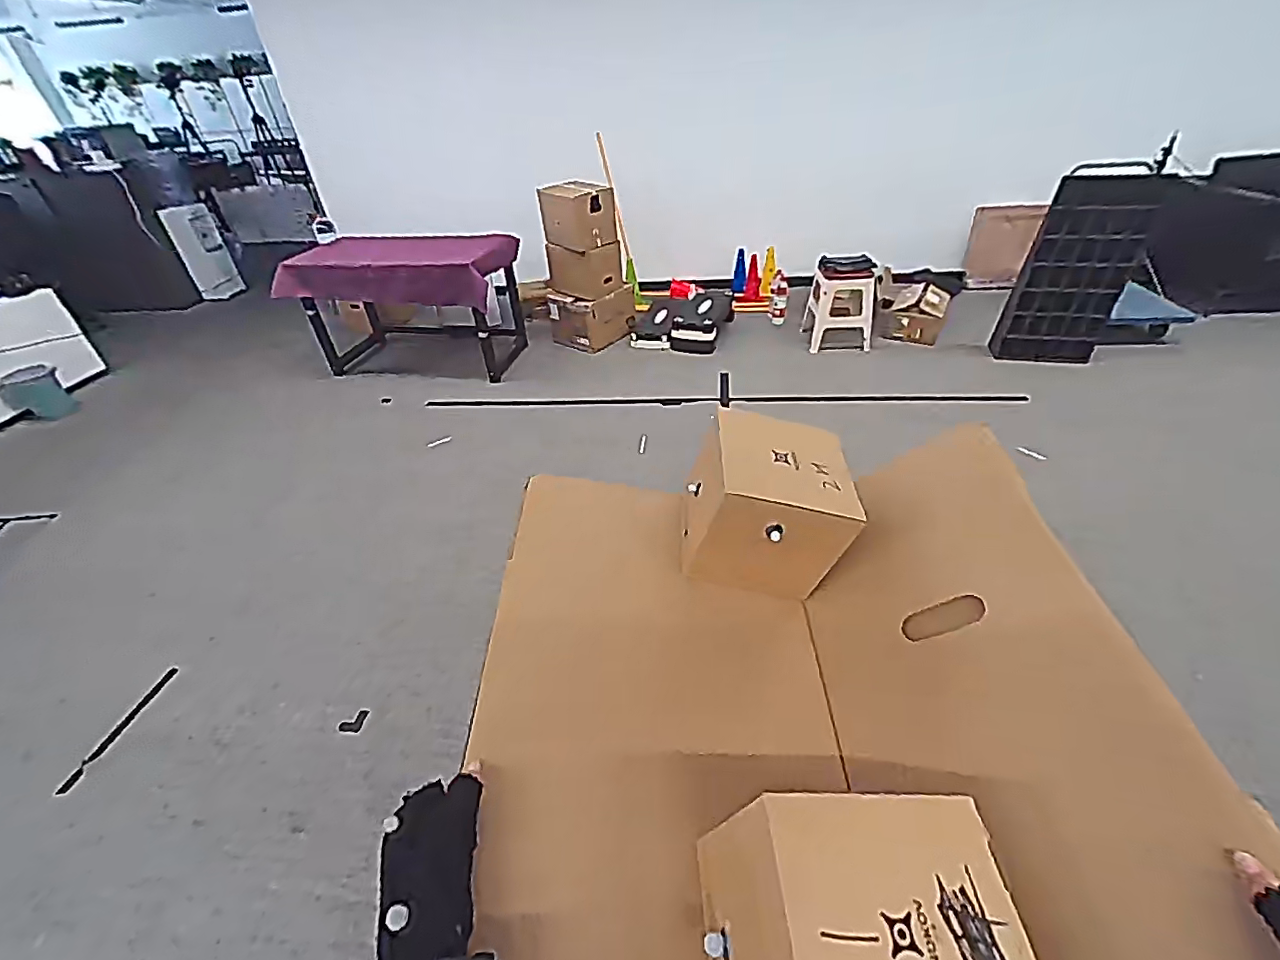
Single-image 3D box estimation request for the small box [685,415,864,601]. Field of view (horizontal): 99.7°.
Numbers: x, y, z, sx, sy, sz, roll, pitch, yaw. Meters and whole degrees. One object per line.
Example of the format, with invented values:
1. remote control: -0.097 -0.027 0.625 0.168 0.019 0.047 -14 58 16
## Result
1. small box: 0.163 0.042 0.725 0.179 0.176 0.168 13 43 -7
